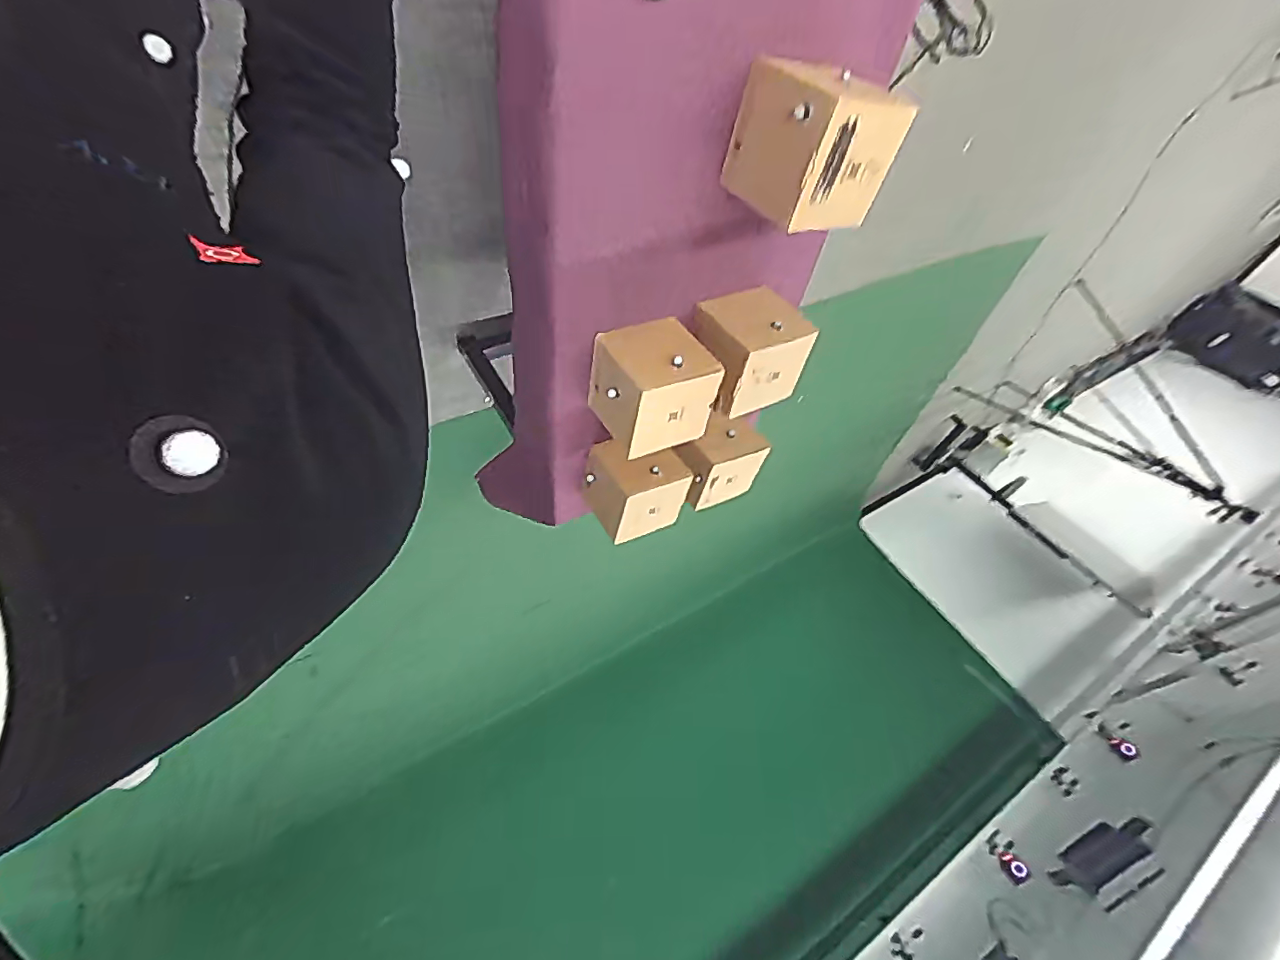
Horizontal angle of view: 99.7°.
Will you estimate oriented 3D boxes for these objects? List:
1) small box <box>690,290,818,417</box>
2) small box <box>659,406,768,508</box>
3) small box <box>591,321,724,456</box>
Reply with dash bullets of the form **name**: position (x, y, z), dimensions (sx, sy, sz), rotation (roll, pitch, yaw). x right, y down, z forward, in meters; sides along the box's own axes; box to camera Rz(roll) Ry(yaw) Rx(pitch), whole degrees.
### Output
- **small box**: position (0.215, -0.261, 1.094), dimensions (0.179, 0.176, 0.168), rotation (-21, 147, -24)
- **small box**: position (0.175, -0.065, 1.335), dimensions (0.179, 0.176, 0.168), rotation (-19, 146, -29)
- **small box**: position (0.023, -0.176, 1.017), dimensions (0.179, 0.176, 0.168), rotation (-19, 146, -27)
